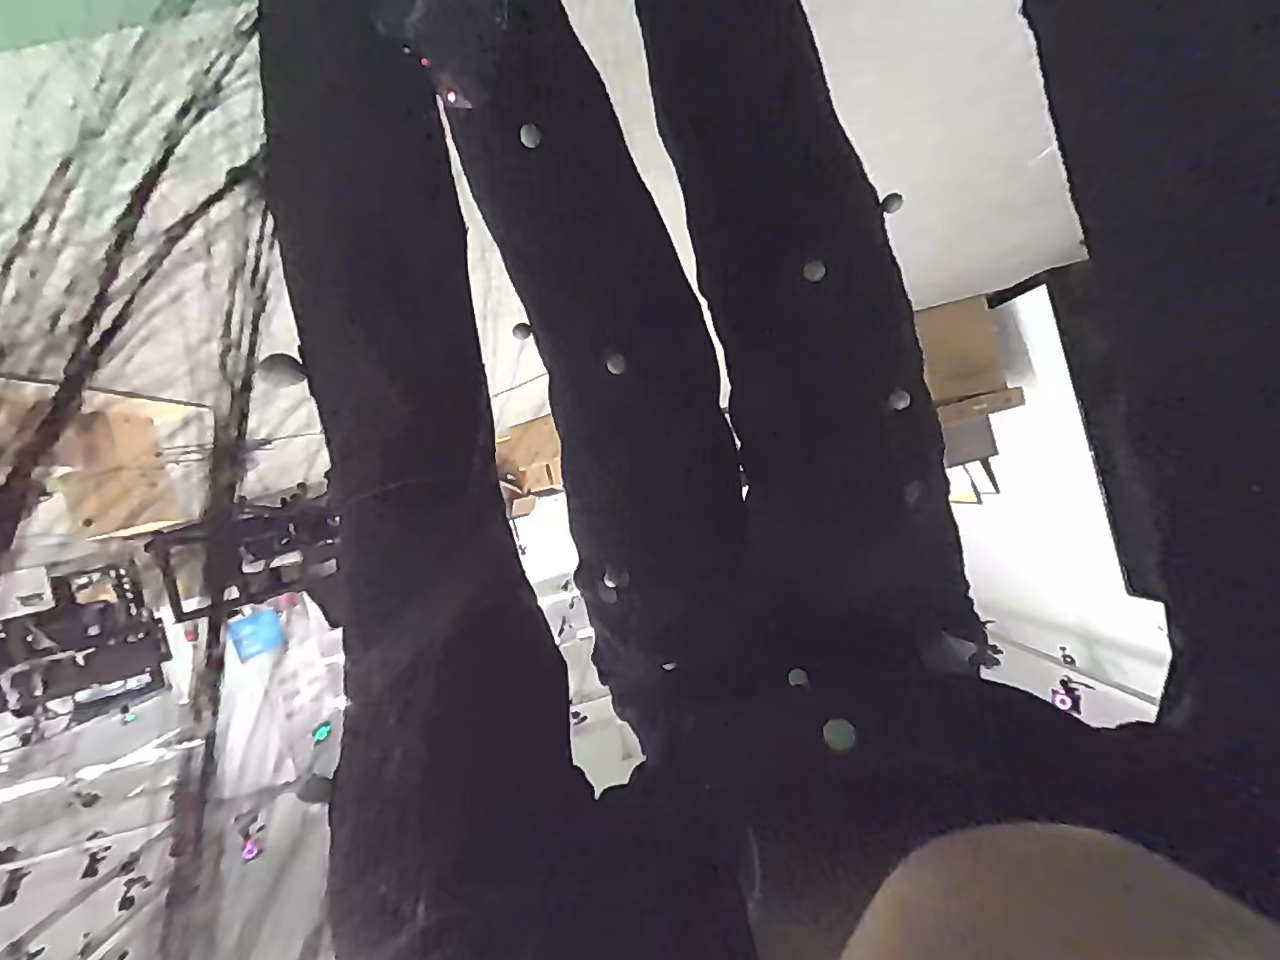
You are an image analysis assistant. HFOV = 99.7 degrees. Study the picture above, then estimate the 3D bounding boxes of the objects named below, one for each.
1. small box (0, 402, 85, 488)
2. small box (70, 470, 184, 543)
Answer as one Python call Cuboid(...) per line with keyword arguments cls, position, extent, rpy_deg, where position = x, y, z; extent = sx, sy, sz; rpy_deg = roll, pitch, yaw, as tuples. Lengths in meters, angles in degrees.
Cuboid(cls="small box", position=(-1.562, -0.083, 1.344), extent=(0.179, 0.176, 0.168), rpy_deg=(-16, 180, 2))
Cuboid(cls="small box", position=(-1.509, 0.075, 1.591), extent=(0.179, 0.176, 0.168), rpy_deg=(-16, -179, -3))
